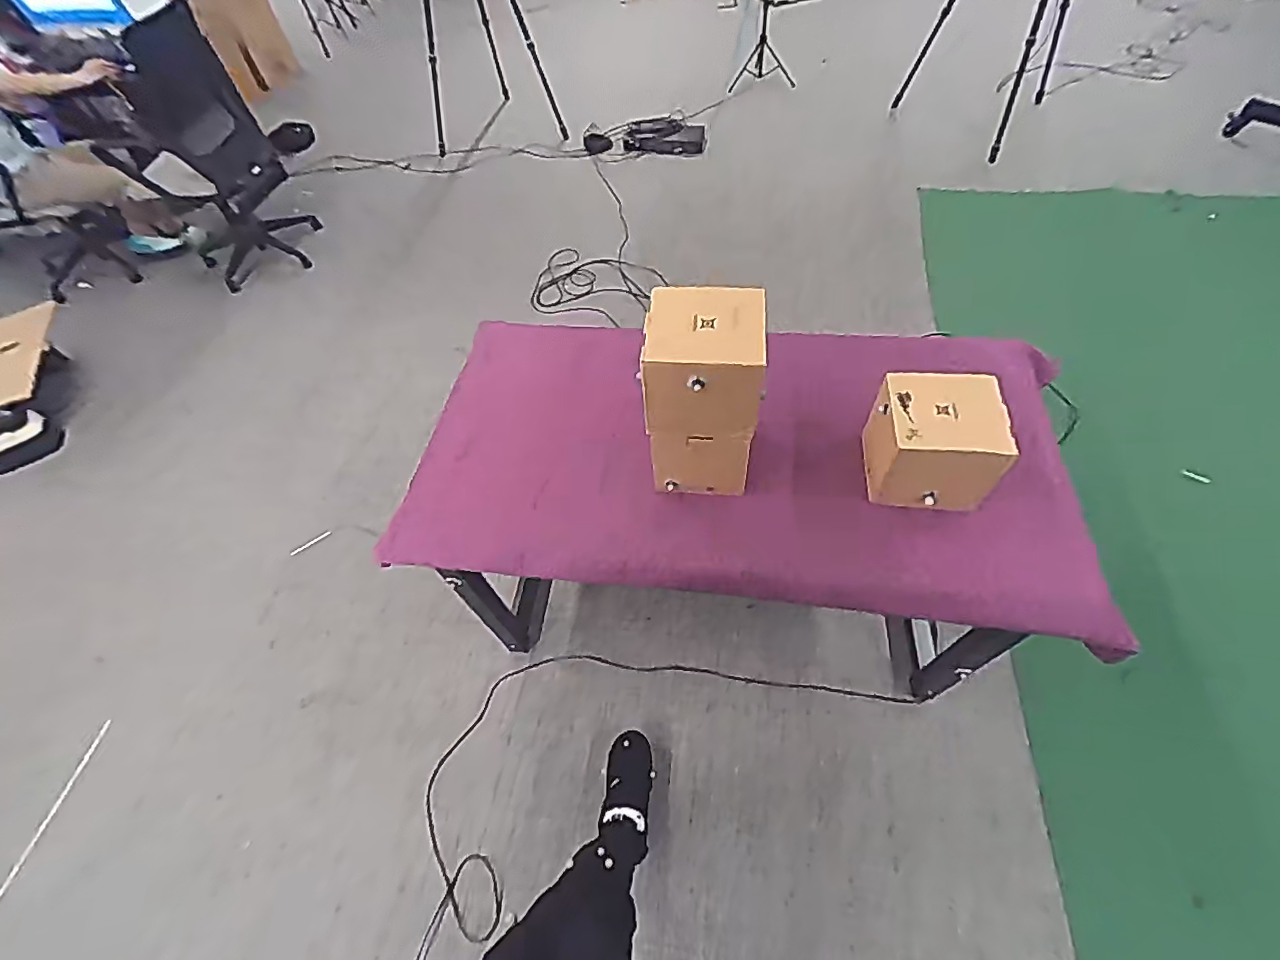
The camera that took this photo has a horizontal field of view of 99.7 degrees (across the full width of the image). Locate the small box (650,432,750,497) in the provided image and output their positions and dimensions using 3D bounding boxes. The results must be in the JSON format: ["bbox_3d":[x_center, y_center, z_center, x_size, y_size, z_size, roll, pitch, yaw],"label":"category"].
[{"bbox_3d":[0.113,-0.086,0.982,0.168,0.176,0.179,4,55,7],"label":"small box"}]

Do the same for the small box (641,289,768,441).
[{"bbox_3d":[0.102,-0.176,0.847,0.179,0.176,0.168,4,57,7],"label":"small box"}]

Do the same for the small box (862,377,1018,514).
[{"bbox_3d":[0.499,-0.055,0.930,0.179,0.176,0.168,5,55,8],"label":"small box"}]
